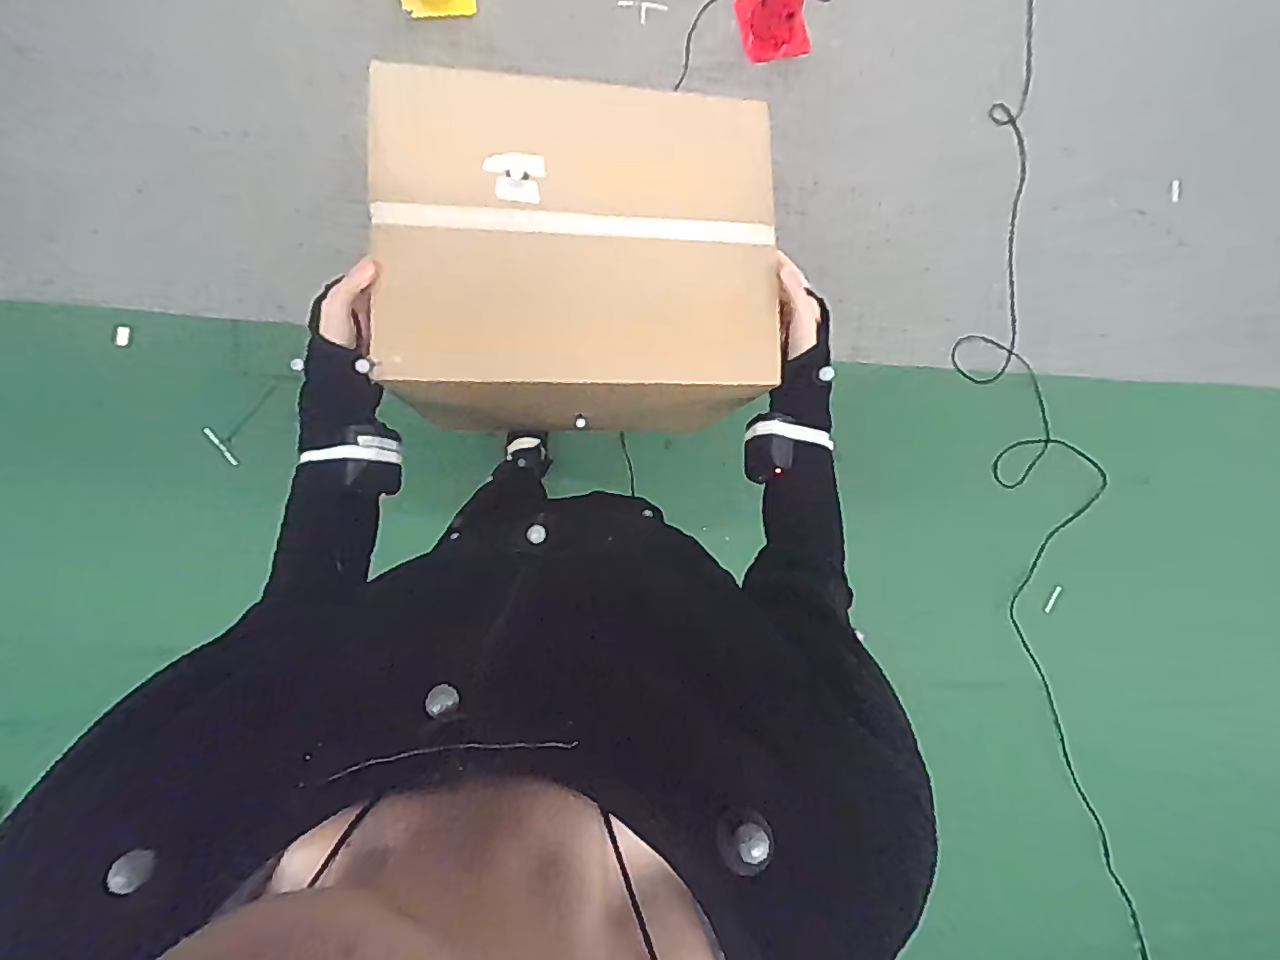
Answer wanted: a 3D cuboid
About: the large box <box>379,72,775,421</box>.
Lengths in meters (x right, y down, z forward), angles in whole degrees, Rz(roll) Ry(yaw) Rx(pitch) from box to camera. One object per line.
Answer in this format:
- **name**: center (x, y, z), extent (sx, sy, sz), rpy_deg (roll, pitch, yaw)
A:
- **large box**: center (-0.076, -0.250, 0.701), extent (0.408, 0.320, 0.320), rpy_deg (-1, 87, -9)
